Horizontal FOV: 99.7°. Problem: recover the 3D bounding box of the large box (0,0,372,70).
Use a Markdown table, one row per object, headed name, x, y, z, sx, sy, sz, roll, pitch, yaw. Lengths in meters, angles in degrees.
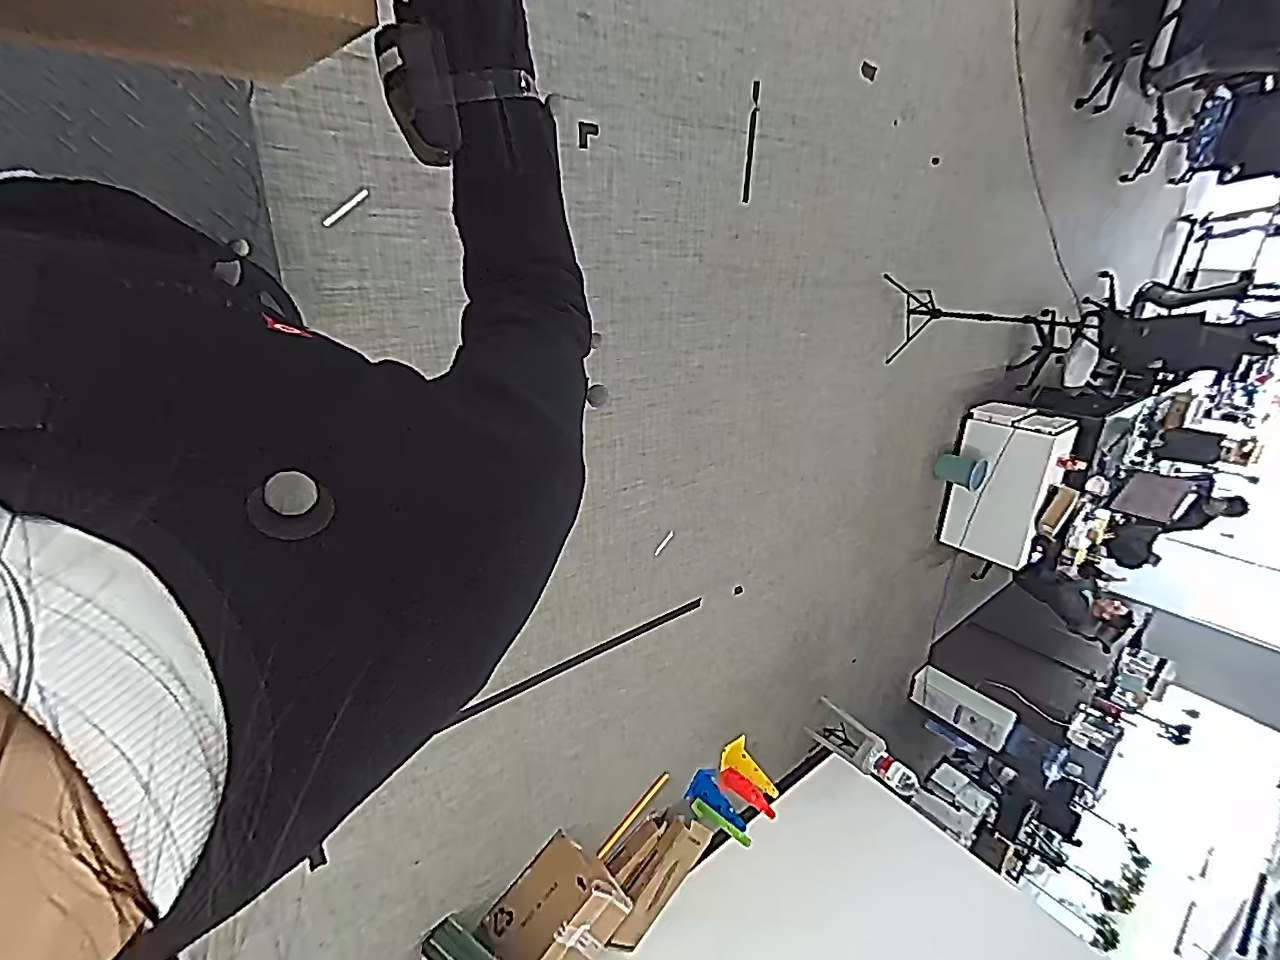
| name | x | y | z | sx | sy | sz | roll | pitch | yaw |
| --- | --- | --- | --- | --- | --- | --- | --- | --- | --- |
| large box | -0.388 | -0.401 | 0.217 | 0.408 | 0.320 | 0.320 | -18 | 126 | -36 |
